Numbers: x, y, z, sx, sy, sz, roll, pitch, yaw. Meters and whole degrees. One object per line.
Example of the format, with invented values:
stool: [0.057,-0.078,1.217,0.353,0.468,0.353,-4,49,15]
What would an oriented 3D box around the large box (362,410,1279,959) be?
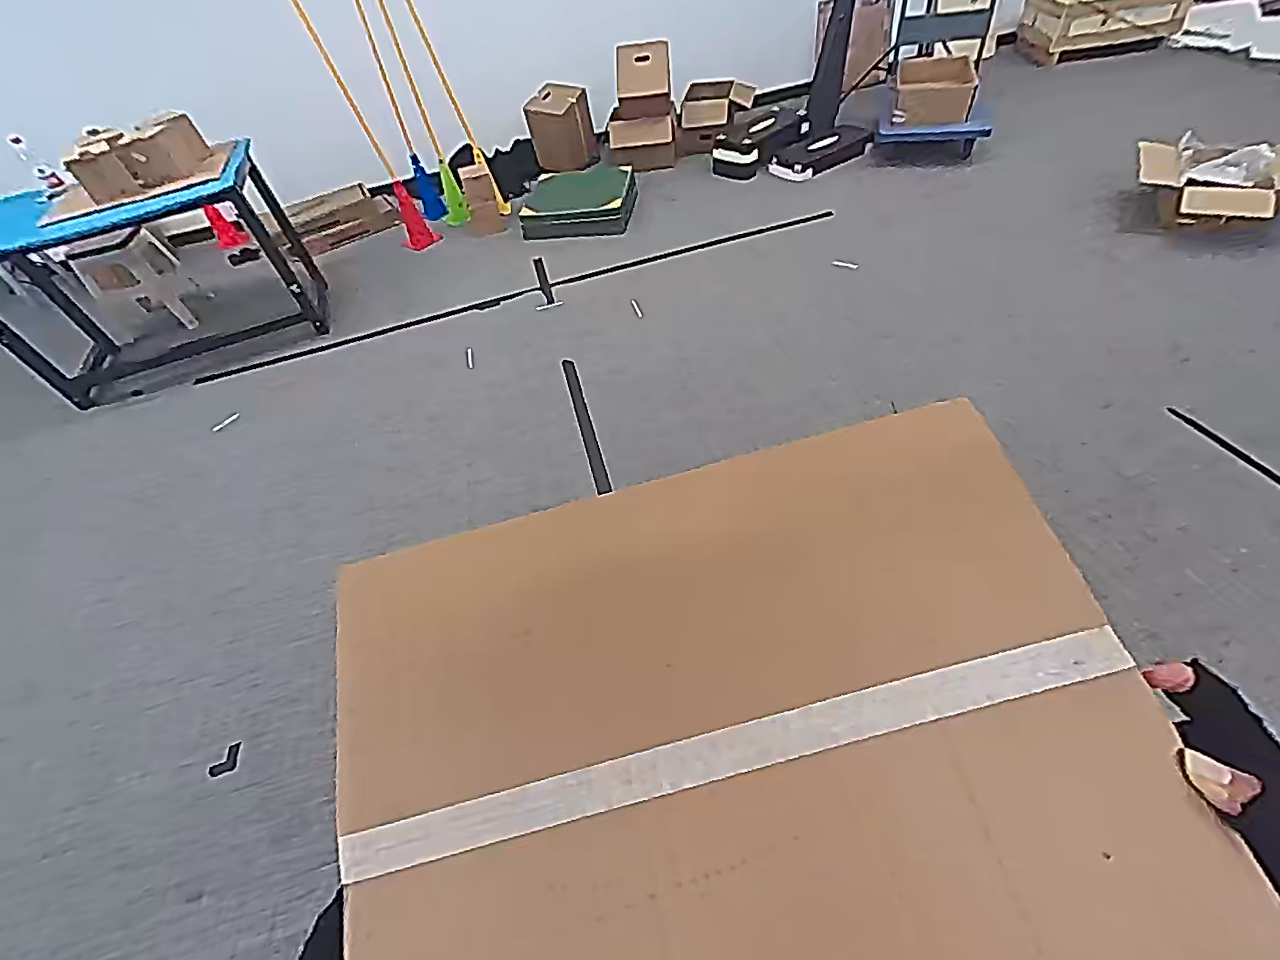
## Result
large box: [0.065,0.203,0.417,0.408,0.320,0.320,-16,66,0]
